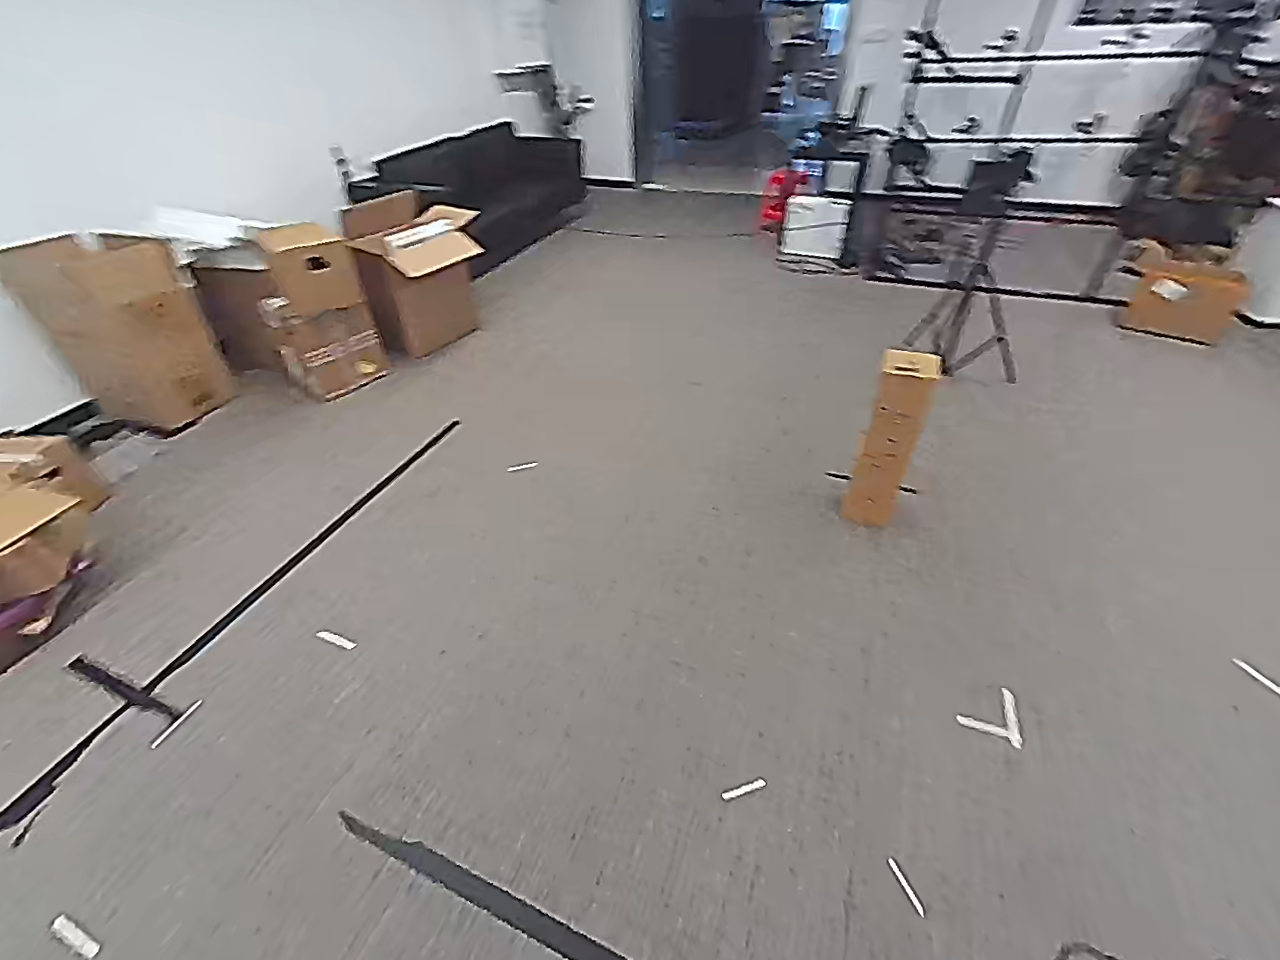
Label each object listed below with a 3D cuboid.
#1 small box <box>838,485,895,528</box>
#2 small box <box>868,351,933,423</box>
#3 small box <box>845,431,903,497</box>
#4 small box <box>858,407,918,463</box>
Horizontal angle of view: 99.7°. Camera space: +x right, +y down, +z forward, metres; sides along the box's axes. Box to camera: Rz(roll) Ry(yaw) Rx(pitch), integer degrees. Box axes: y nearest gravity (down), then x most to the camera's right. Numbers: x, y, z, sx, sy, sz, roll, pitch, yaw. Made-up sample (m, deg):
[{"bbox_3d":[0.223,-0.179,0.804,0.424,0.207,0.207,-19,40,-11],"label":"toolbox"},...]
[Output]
[{"bbox_3d":[0.893,0.067,2.130,0.179,0.176,0.168,12,42,18],"label":"small box"},{"bbox_3d":[0.873,-0.312,1.817,0.168,0.176,0.179,13,41,19],"label":"small box"},{"bbox_3d":[0.879,-0.058,2.024,0.179,0.176,0.168,14,44,20],"label":"small box"},{"bbox_3d":[0.882,-0.184,1.919,0.168,0.176,0.179,14,43,19],"label":"small box"}]
